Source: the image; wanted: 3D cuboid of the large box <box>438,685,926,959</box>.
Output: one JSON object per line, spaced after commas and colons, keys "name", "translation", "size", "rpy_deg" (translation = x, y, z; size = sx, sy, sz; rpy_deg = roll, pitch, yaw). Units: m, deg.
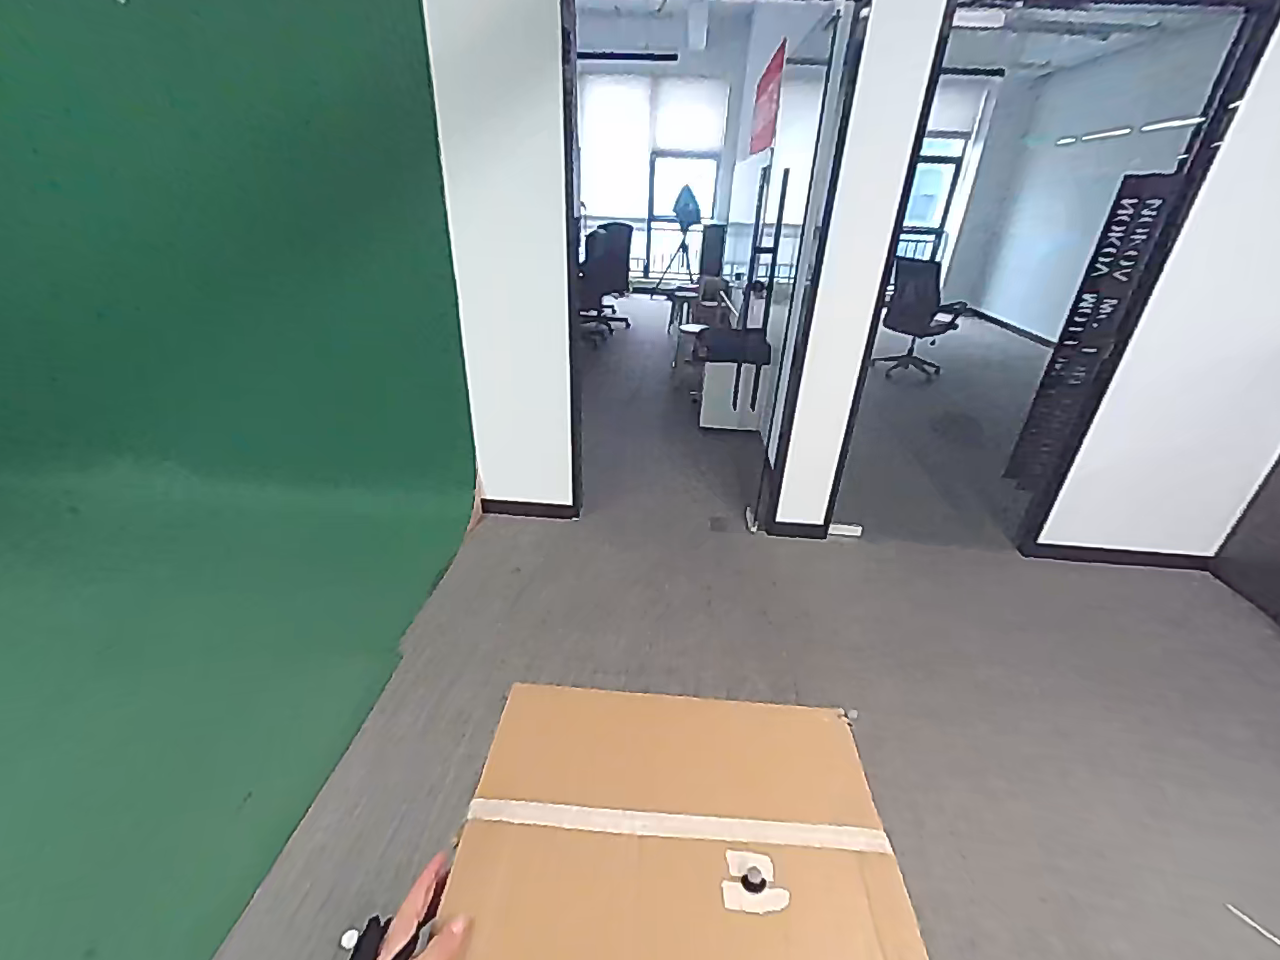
{"name": "large box", "translation": [0.031, 0.467, 0.598], "size": [0.408, 0.320, 0.320], "rpy_deg": [5, 28, 1]}
